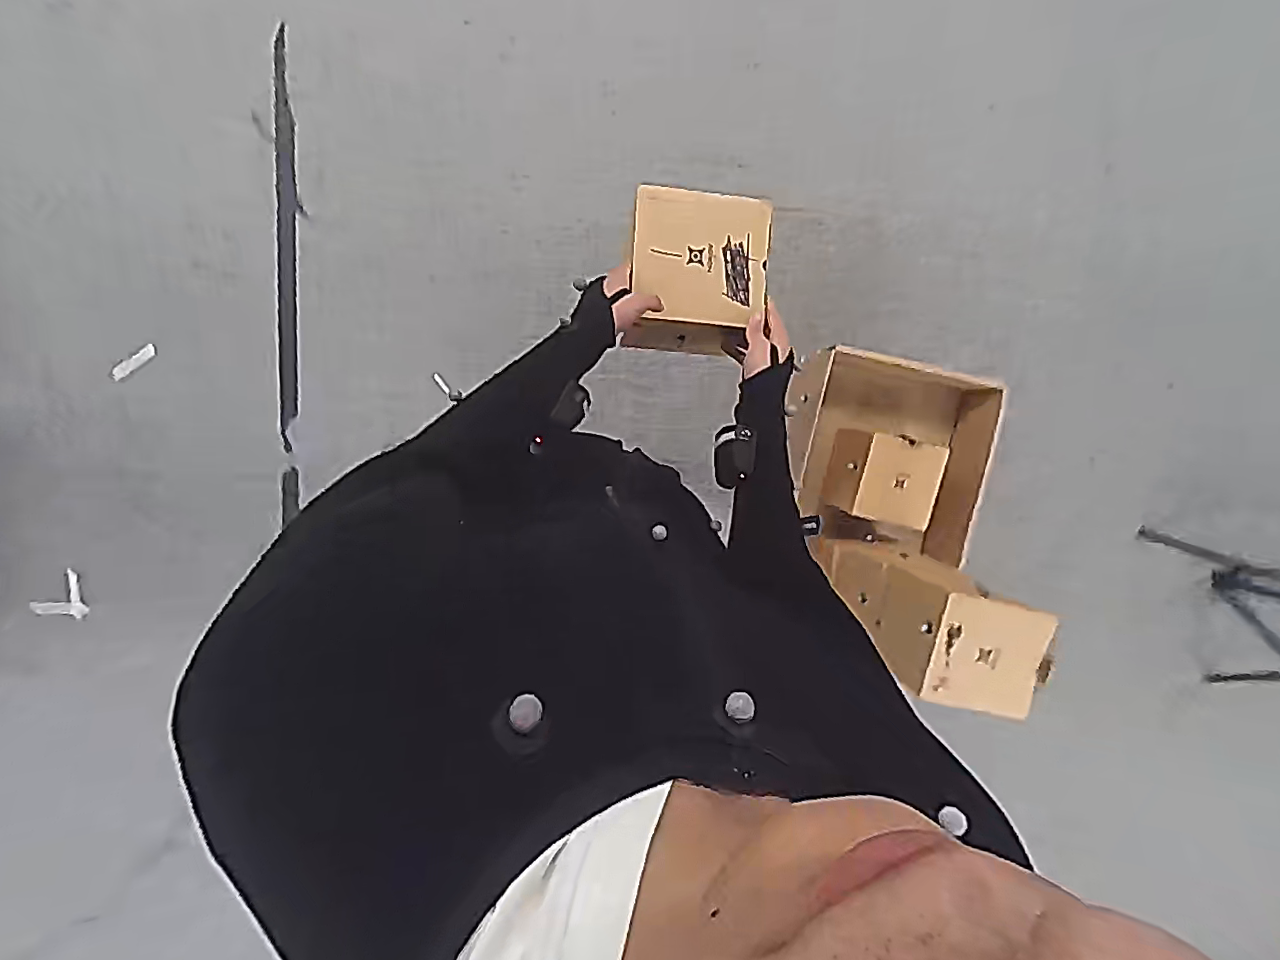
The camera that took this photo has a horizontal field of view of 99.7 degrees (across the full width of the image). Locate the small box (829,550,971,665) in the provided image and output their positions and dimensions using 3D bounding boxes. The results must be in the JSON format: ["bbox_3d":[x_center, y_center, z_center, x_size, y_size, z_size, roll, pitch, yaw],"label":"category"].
[{"bbox_3d":[0.475,0.239,1.015,0.168,0.176,0.179,8,95,-5],"label":"small box"}]

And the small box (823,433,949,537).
[{"bbox_3d":[0.514,0.004,1.157,0.168,0.176,0.179,13,96,-6],"label":"small box"}]

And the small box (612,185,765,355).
[{"bbox_3d":[0.057,-0.273,0.744,0.179,0.176,0.168,3,90,-6],"label":"small box"}]

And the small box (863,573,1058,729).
[{"bbox_3d":[0.491,0.258,0.852,0.179,0.176,0.168,14,94,-6],"label":"small box"}]
